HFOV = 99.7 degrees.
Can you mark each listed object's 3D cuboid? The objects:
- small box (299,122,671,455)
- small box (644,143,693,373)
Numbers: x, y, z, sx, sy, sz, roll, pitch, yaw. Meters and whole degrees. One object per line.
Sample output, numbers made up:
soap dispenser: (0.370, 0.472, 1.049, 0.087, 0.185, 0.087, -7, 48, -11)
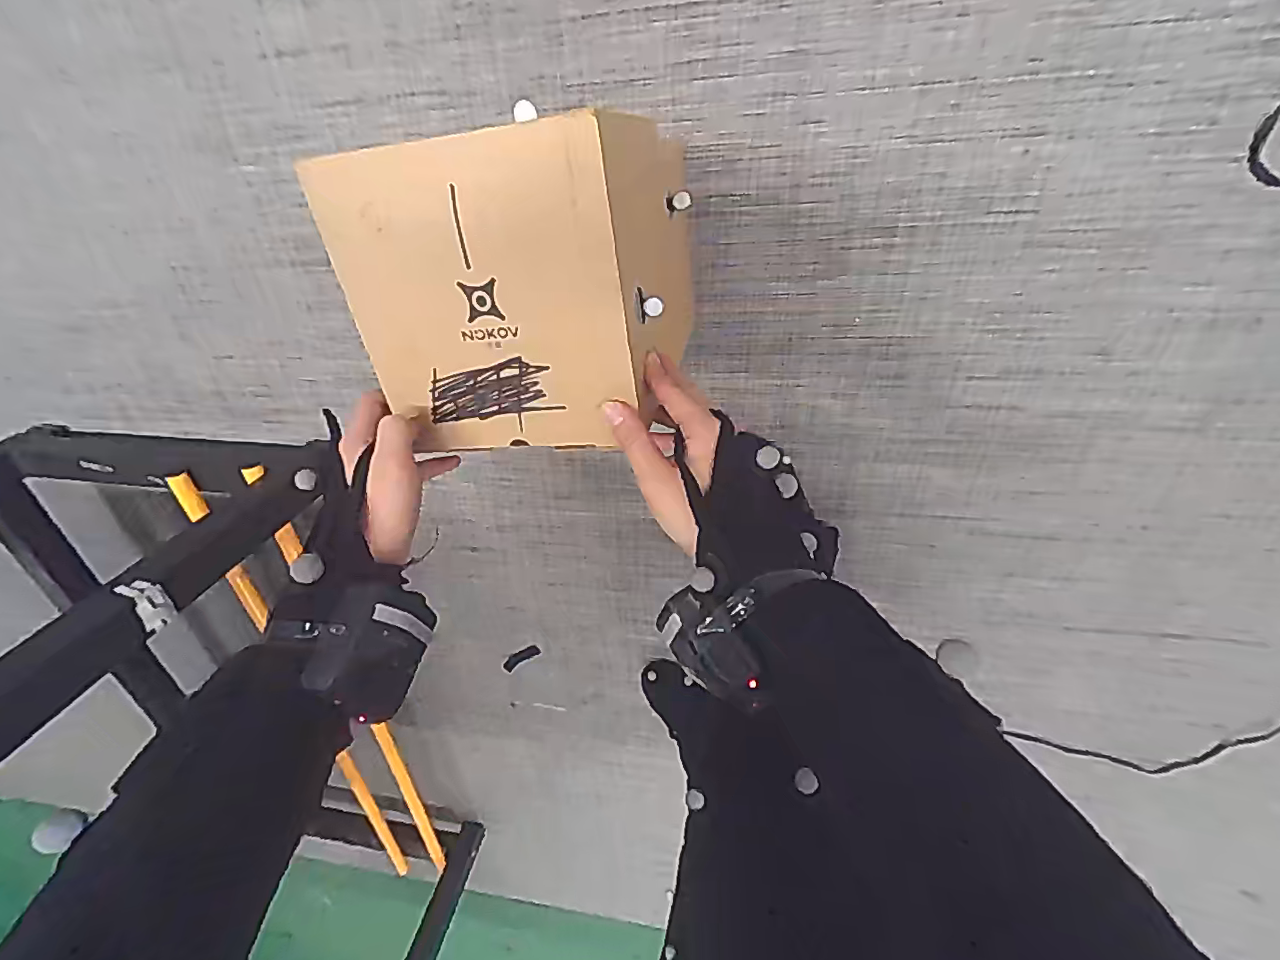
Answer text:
small box: (-0.075, -0.133, 0.374, 0.168, 0.176, 0.179, -1, 121, 13)
small box: (-0.045, -0.209, 0.517, 0.168, 0.176, 0.179, -1, 122, 14)
